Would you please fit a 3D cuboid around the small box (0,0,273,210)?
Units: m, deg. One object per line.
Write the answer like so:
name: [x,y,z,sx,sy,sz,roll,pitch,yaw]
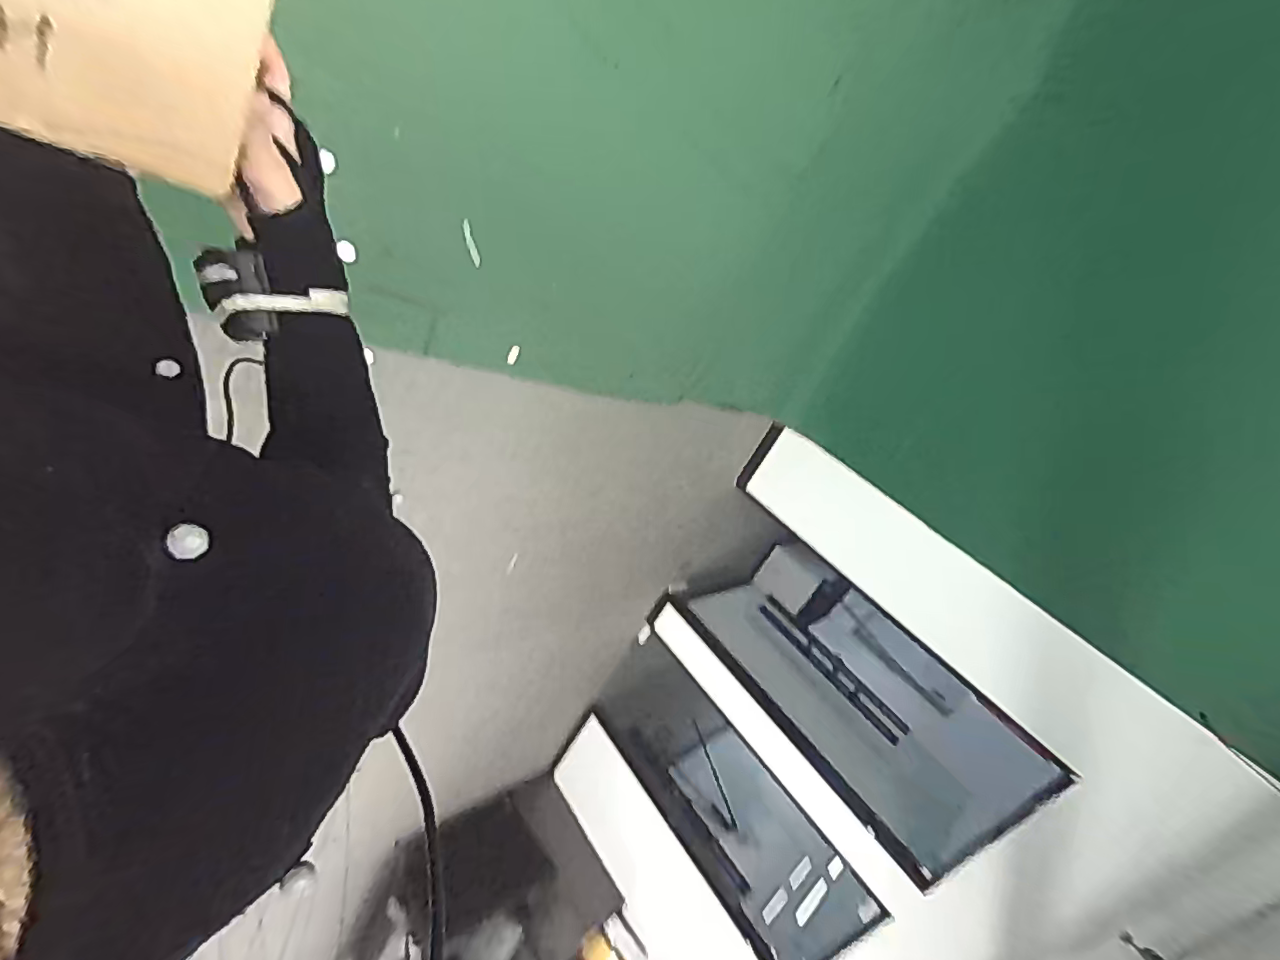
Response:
small box: [-0.311,-0.287,0.278,0.168,0.176,0.179,5,128,-50]
